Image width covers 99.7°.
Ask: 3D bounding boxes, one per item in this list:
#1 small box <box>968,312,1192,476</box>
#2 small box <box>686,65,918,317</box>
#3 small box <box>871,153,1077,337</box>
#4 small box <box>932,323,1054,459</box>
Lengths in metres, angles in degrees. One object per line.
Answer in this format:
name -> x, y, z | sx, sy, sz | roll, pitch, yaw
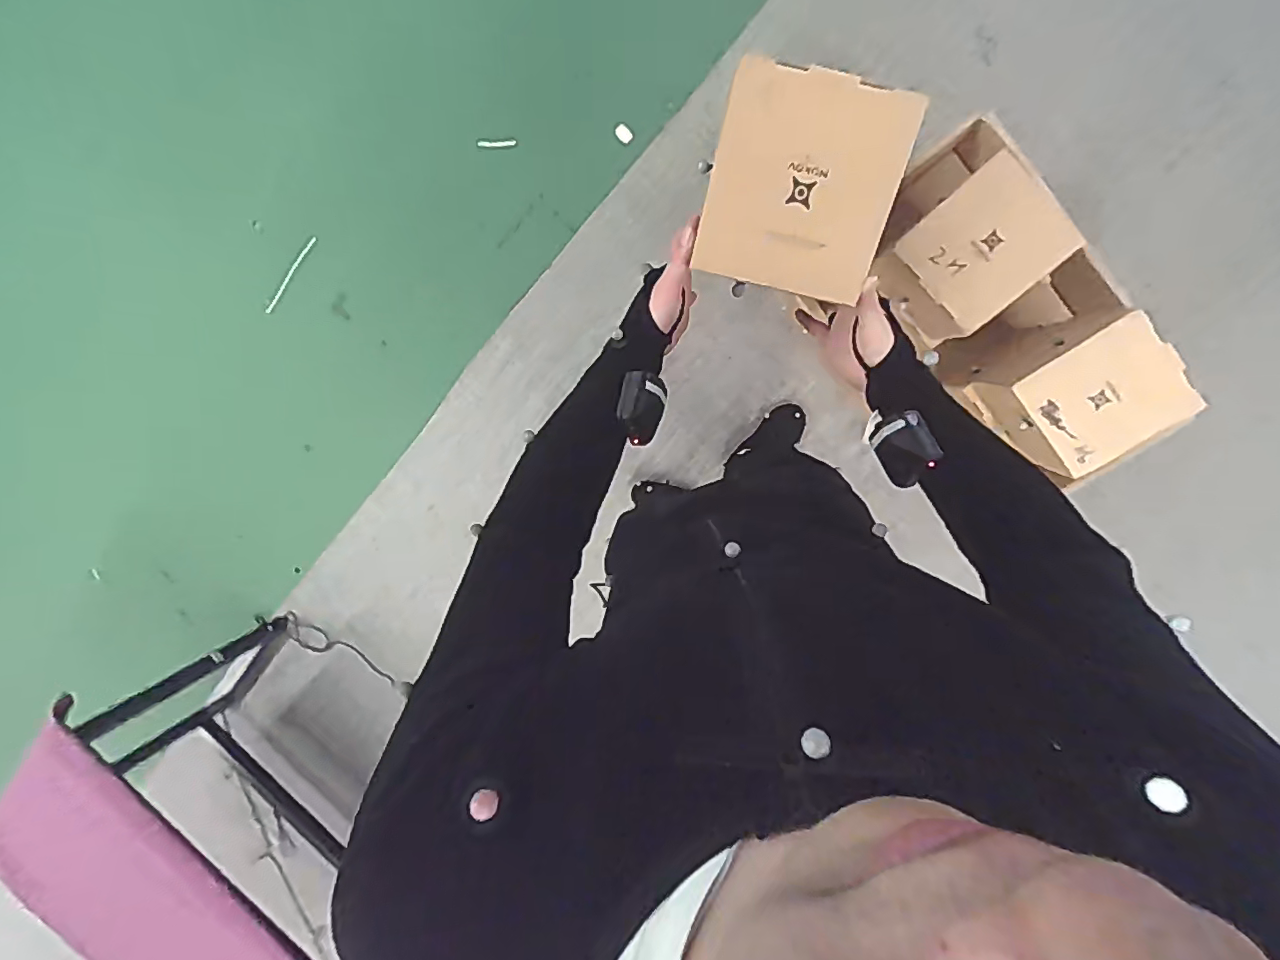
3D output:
small box -> 0.650, -0.134, 0.826 | 0.179, 0.176, 0.168 | -35, 94, 17
small box -> 0.145, -0.284, 0.562 | 0.168, 0.176, 0.179 | 13, 113, -2
small box -> 0.479, -0.335, 0.810 | 0.179, 0.176, 0.168 | -41, 93, 17
small box -> 0.676, -0.166, 0.985 | 0.179, 0.176, 0.168 | -37, 94, 18
